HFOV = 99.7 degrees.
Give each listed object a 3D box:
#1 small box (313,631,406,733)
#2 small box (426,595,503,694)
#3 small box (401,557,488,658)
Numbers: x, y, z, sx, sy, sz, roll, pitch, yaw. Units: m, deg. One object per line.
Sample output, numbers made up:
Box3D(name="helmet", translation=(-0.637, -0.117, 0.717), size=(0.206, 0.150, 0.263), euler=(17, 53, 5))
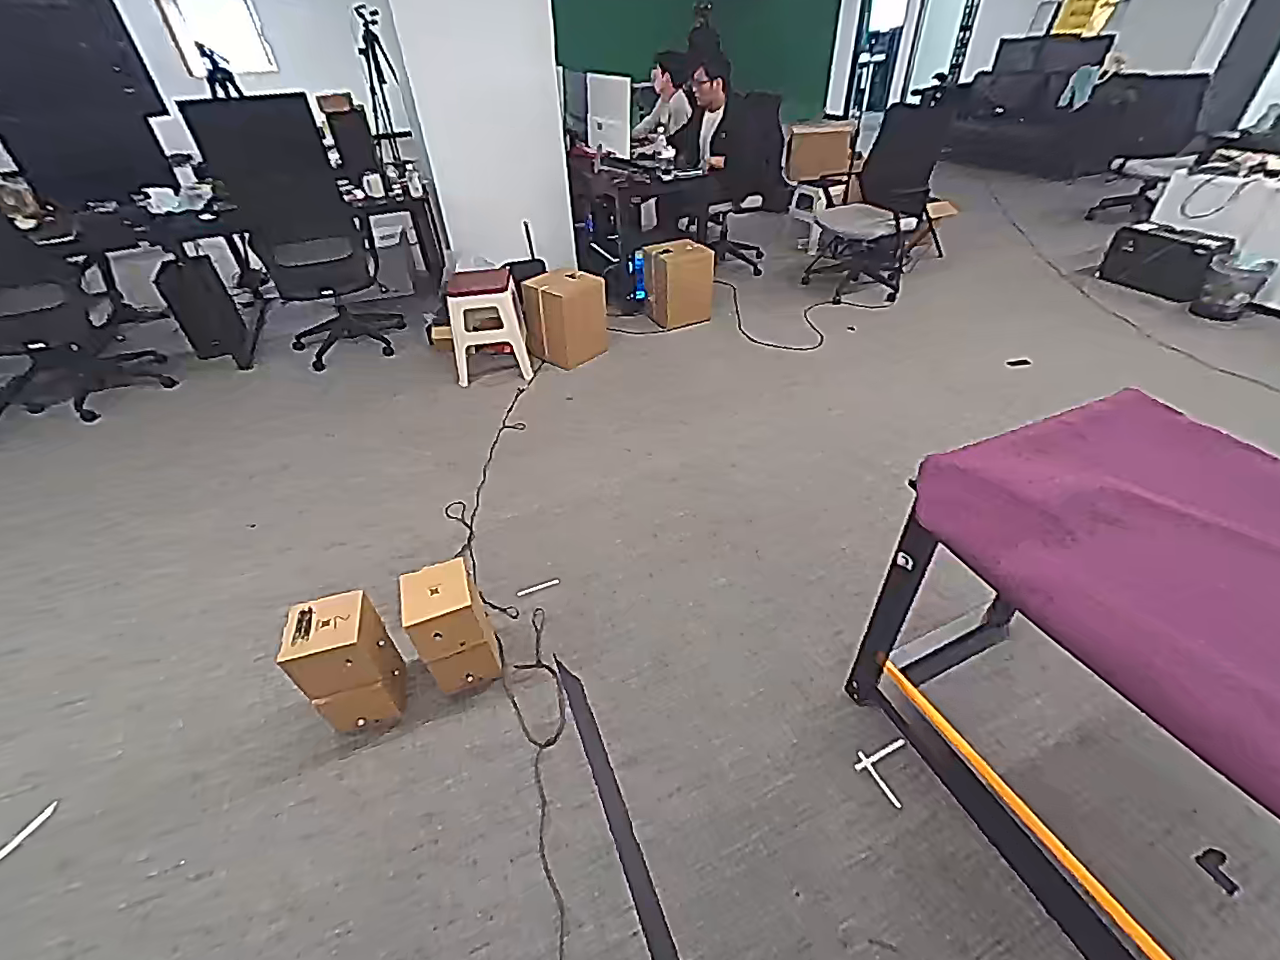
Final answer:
Box3D(name="small box", translation=(-0.738, 0.539, 1.443), size=(0.168, 0.176, 0.179), euler=(-13, 42, -10))
Box3D(name="small box", translation=(-0.495, 0.461, 1.516), size=(0.168, 0.176, 0.179), euler=(-17, 42, -13))
Box3D(name="small box", translation=(-0.508, 0.338, 1.411), size=(0.168, 0.176, 0.179), euler=(-17, 41, -14))
